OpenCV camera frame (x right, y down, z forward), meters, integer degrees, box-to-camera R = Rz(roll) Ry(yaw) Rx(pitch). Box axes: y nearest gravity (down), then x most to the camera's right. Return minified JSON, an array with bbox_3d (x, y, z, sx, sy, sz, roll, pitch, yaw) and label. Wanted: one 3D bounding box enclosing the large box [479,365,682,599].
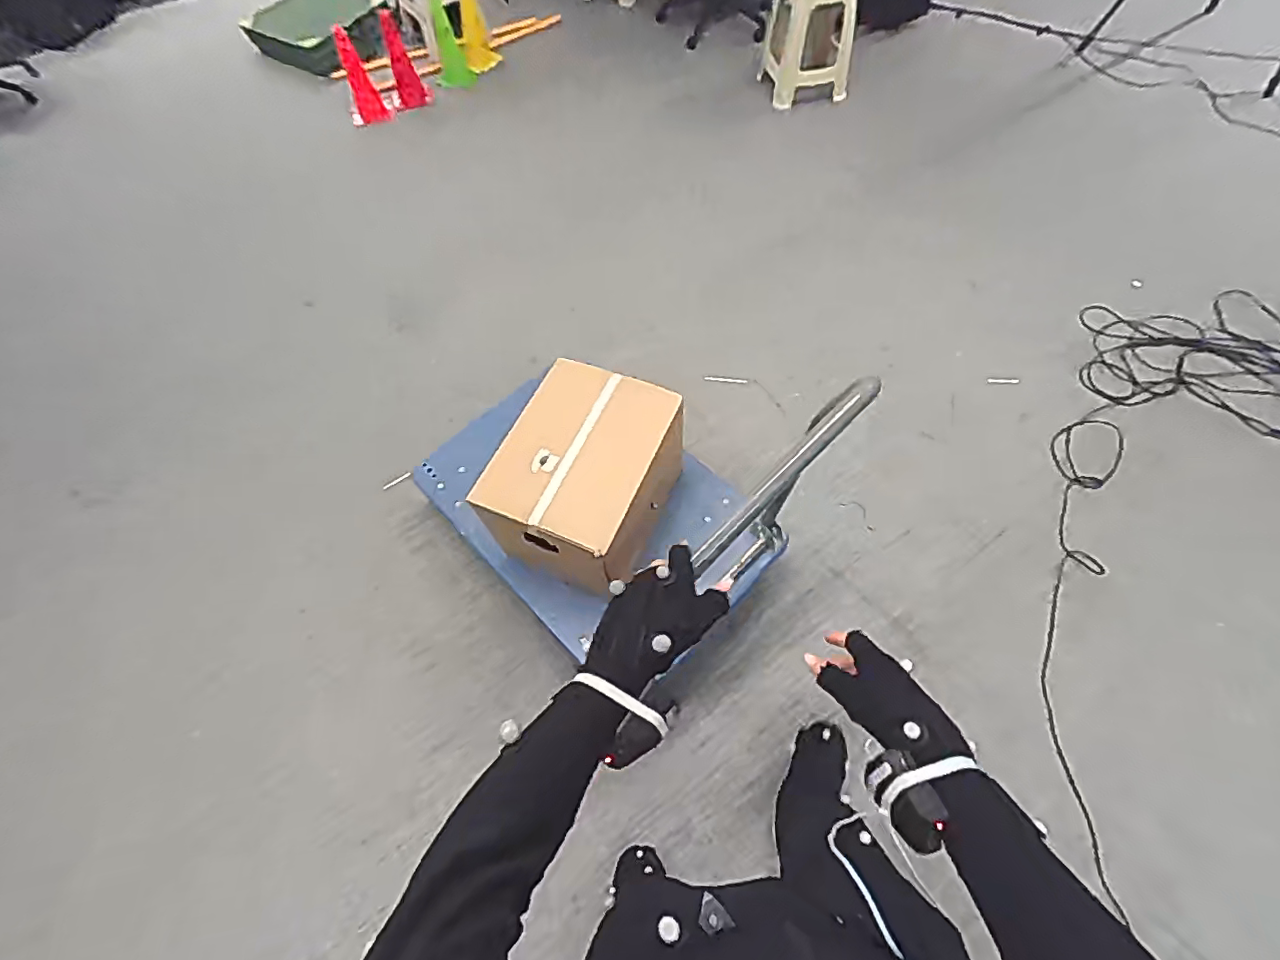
[{"bbox_3d":[-0.109,0.009,1.271,0.320,0.320,0.408,18,65,14],"label":"large box"}]
